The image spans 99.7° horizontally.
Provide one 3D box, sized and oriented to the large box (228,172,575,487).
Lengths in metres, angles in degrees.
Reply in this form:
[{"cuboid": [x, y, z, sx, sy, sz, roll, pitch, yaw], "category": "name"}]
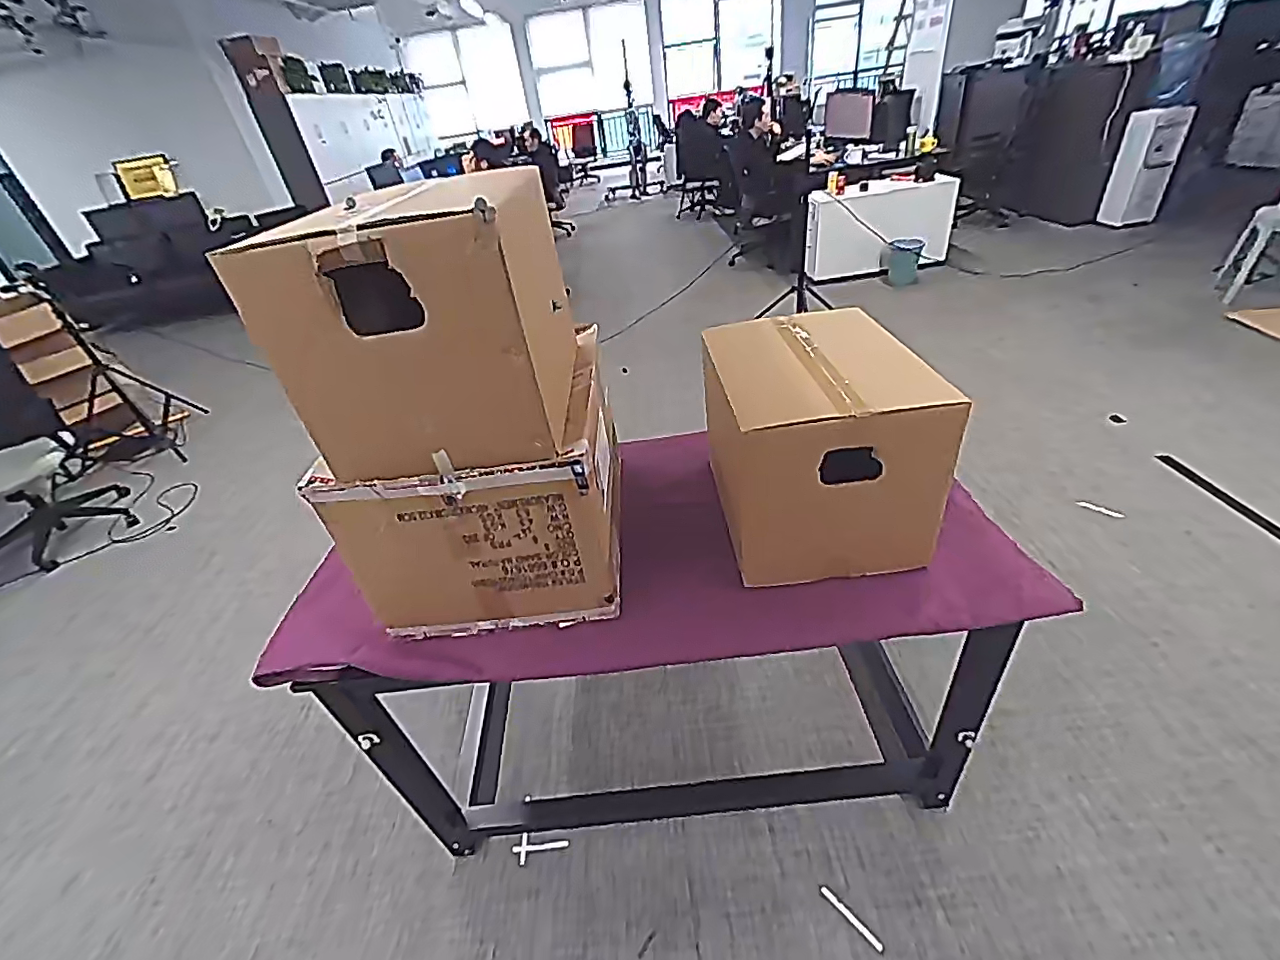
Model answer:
[{"cuboid": [-0.279, -0.243, 0.810, 0.320, 0.320, 0.408, -9, 36, 3], "category": "large box"}]
